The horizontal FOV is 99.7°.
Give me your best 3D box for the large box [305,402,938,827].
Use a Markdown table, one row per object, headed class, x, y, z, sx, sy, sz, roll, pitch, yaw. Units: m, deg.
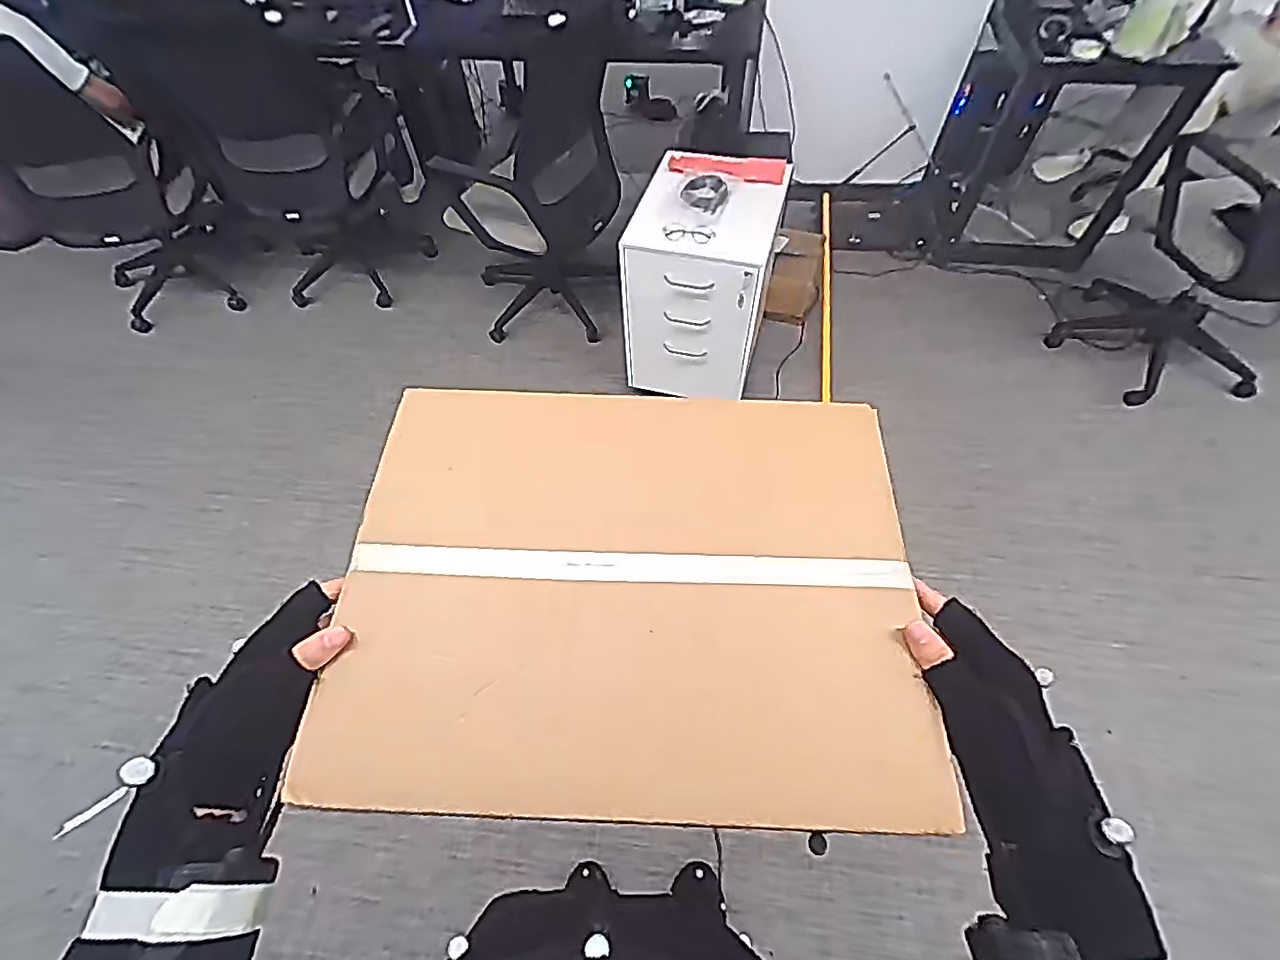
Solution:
| class | x | y | z | sx | sy | sz | roll | pitch | yaw |
| --- | --- | --- | --- | --- | --- | --- | --- | --- | --- |
| large box | -0.008 | 0.141 | 0.535 | 0.408 | 0.320 | 0.320 | 2 | 61 | 0 |
